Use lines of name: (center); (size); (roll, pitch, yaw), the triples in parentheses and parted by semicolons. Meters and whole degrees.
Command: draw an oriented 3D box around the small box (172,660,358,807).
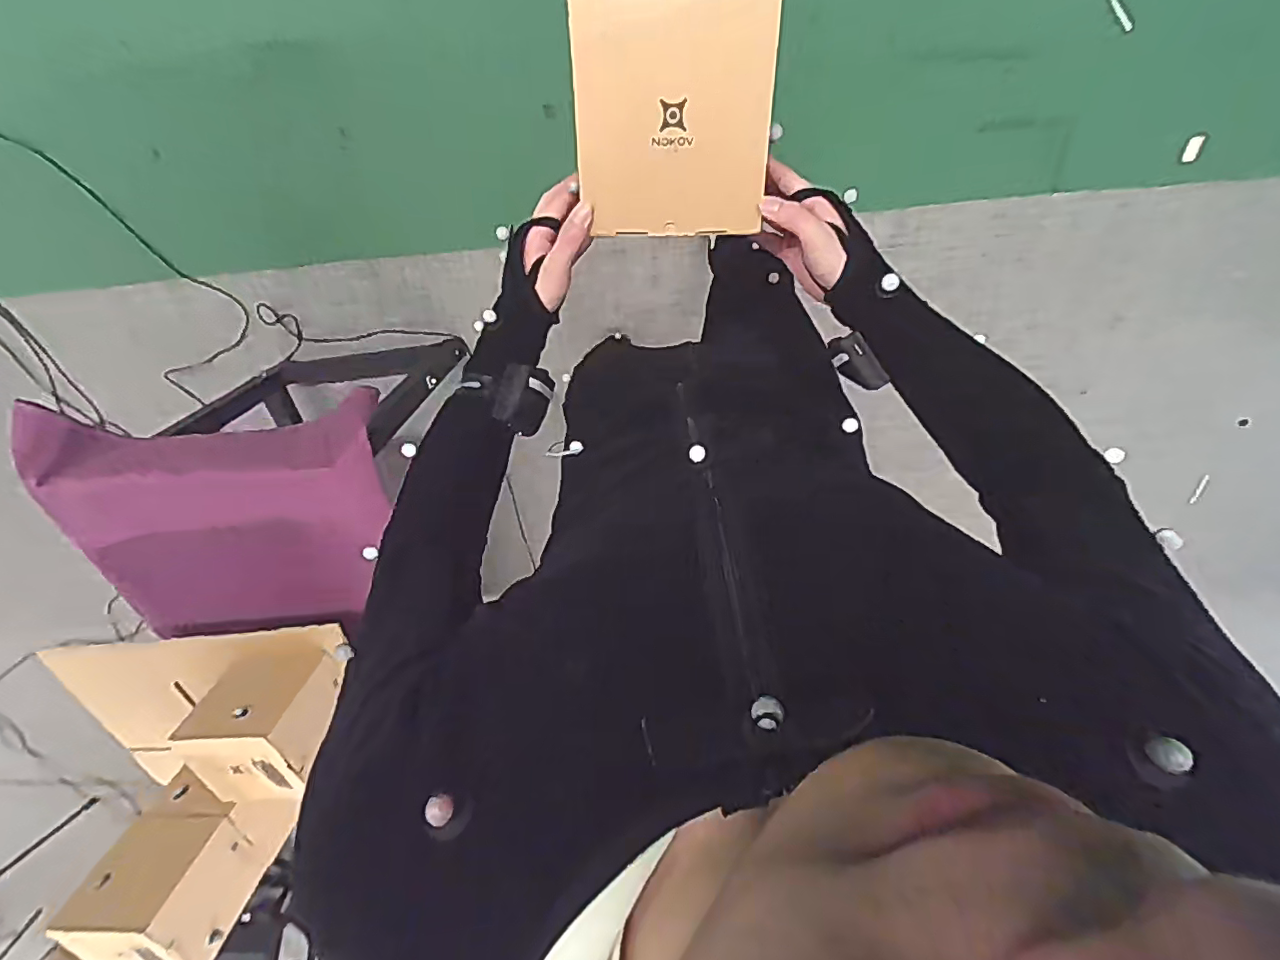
small box: (-0.615, 0.426, 0.922); (0.179, 0.176, 0.168); (-5, 119, 7)

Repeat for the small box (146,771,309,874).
small box: (-0.765, 0.621, 1.041); (0.179, 0.176, 0.168); (-5, 119, 6)

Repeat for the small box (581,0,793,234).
small box: (0.037, -0.341, 0.520); (0.168, 0.176, 0.179); (0, 122, 2)
